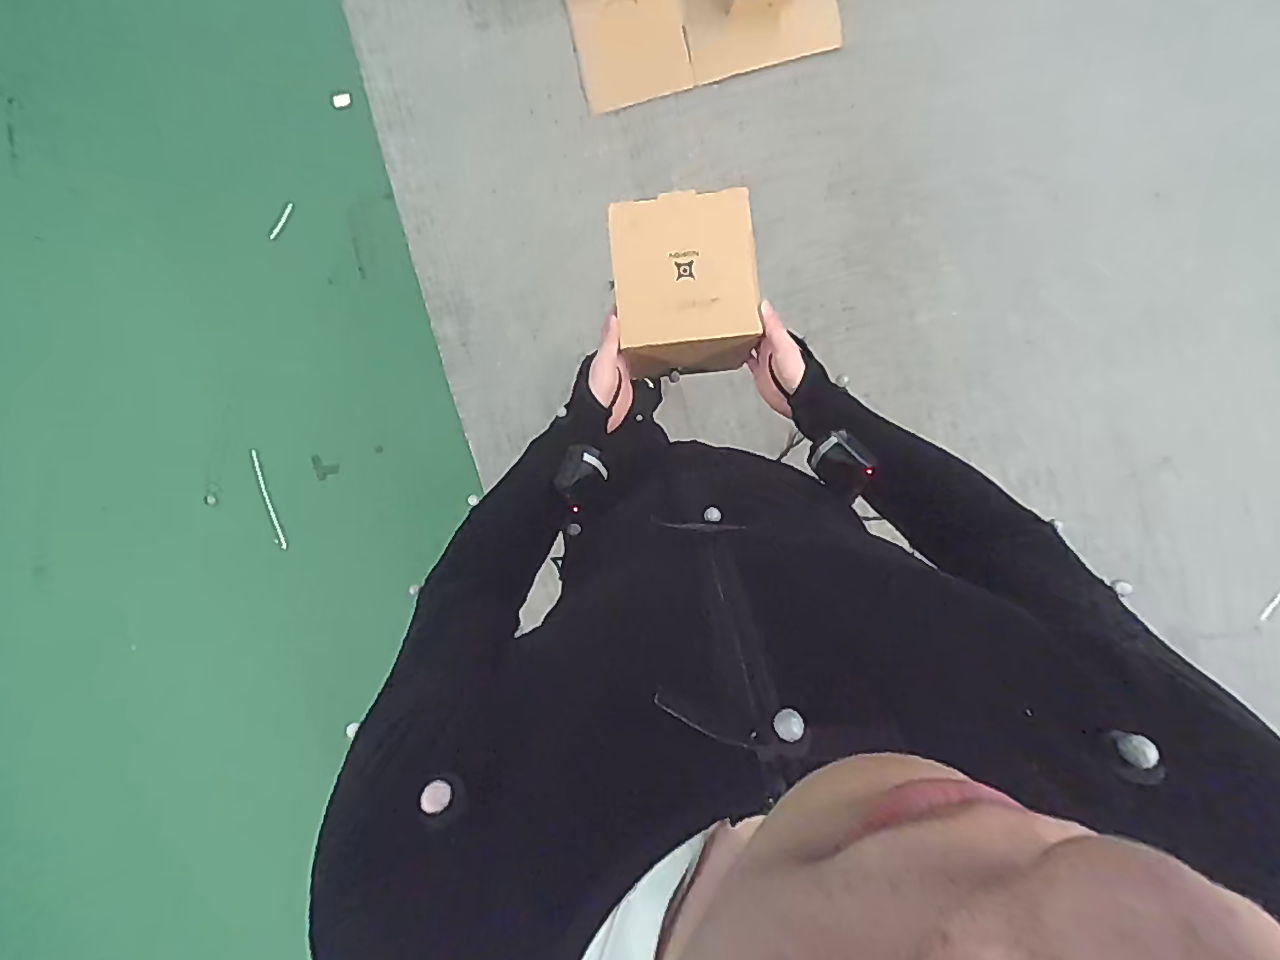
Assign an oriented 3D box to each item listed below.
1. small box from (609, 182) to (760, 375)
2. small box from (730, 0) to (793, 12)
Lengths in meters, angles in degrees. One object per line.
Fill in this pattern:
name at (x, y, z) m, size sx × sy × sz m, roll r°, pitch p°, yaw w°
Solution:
small box at (0.051, -0.245, 0.691) m, size 0.168 × 0.176 × 0.179 m, roll -4°, pitch 87°, yaw 2°
small box at (0.305, -1.297, 1.323) m, size 0.168 × 0.176 × 0.179 m, roll -9°, pitch 96°, yaw 3°
